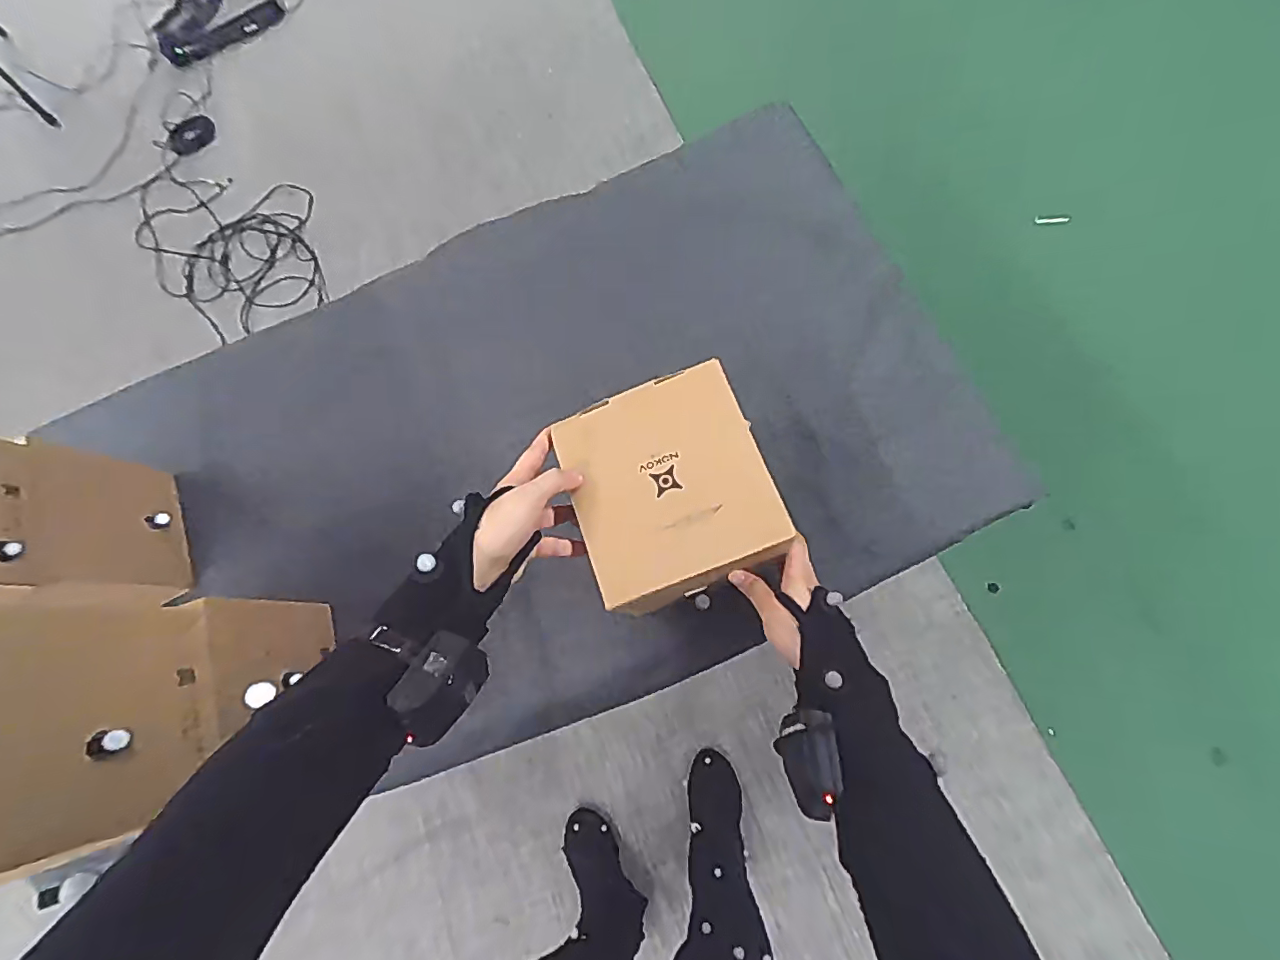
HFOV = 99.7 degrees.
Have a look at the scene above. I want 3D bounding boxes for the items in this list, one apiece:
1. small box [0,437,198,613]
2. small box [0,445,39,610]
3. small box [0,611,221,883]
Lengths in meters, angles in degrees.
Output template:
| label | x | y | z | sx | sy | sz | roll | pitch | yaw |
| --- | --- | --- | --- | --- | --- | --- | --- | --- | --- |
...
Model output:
| label | x | y | z | sx | sy | sz | roll | pitch | yaw |
| --- | --- | --- | --- | --- | --- | --- | --- | --- | --- |
| small box | -0.687 | 0.080 | 0.649 | 0.168 | 0.176 | 0.179 | -27 | 73 | 2 |
| small box | -0.707 | 0.053 | 0.487 | 0.179 | 0.176 | 0.168 | -26 | 74 | 3 |
| small box | -0.455 | 0.201 | 0.403 | 0.179 | 0.176 | 0.168 | -22 | 73 | 4 |
